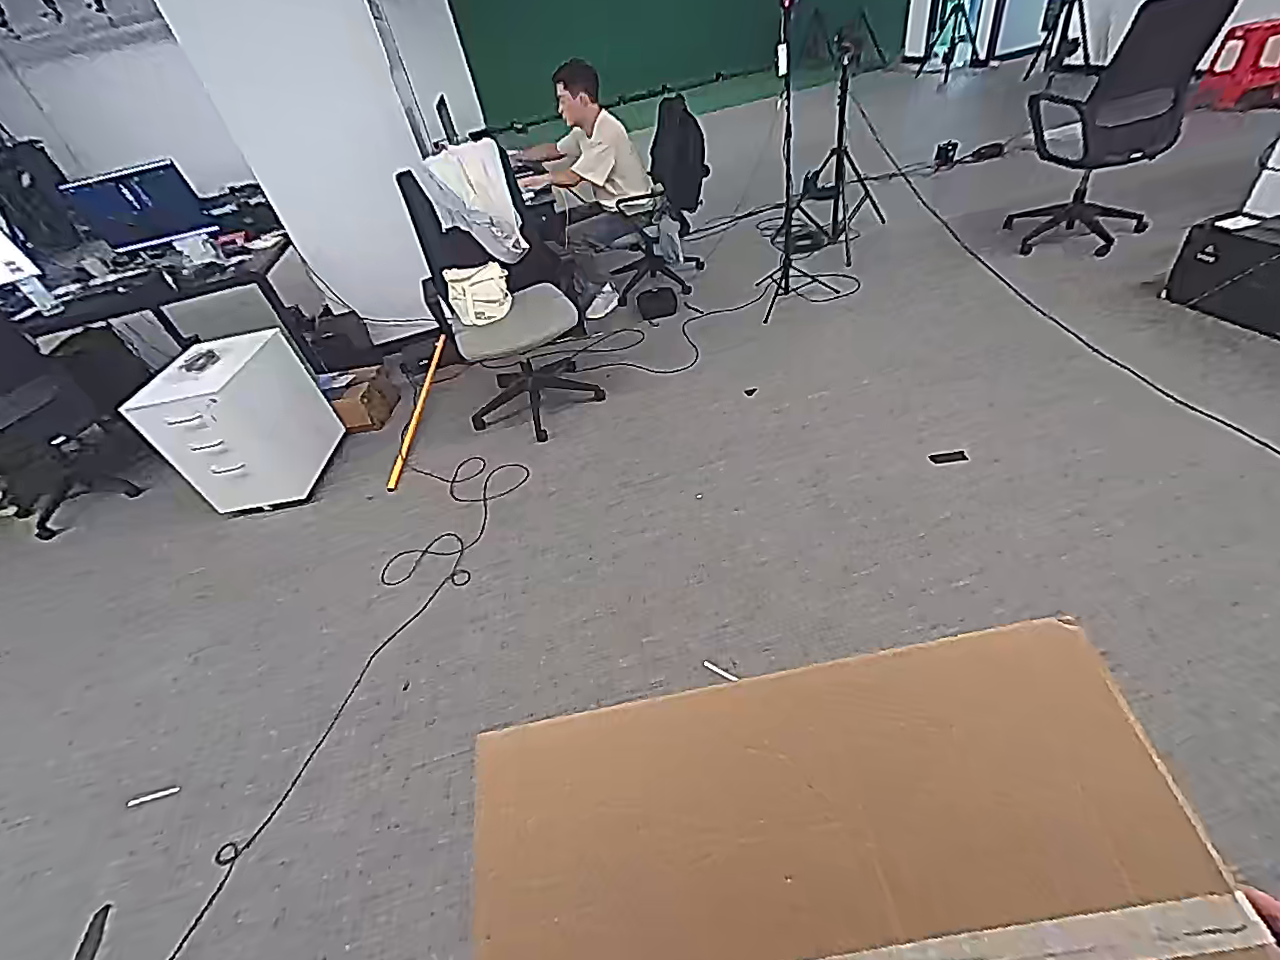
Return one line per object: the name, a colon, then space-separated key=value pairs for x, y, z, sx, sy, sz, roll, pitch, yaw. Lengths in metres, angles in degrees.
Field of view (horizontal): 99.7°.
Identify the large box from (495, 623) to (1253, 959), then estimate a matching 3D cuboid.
large box: x=0.137 y=0.344 z=0.422 sx=0.408 sy=0.320 sz=0.320 roll=-13 pitch=59 yaw=4
